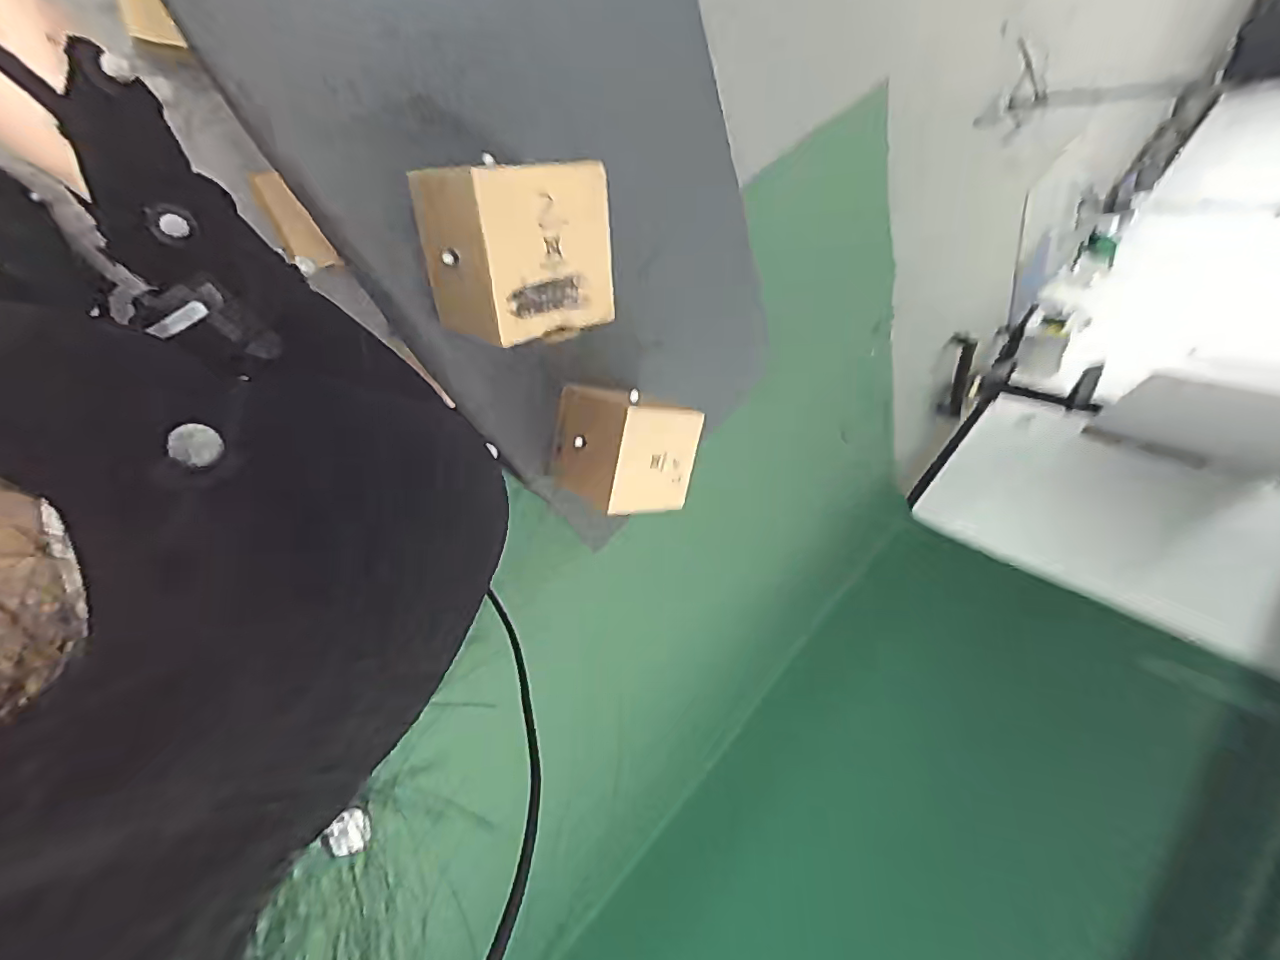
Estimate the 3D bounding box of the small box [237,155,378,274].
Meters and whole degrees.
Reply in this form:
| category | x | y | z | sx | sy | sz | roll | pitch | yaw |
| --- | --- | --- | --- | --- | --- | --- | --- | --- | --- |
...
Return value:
| category | x | y | z | sx | sy | sz | roll | pitch | yaw |
| --- | --- | --- | --- | --- | --- | --- | --- | --- | --- |
| small box | -0.673 | -0.539 | 1.097 | 0.168 | 0.176 | 0.179 | -36 | 131 | -26 |

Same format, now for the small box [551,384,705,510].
| category | x | y | z | sx | sy | sz | roll | pitch | yaw |
| --- | --- | --- | --- | --- | --- | --- | --- | --- | --- |
| small box | -0.026 | -0.058 | 0.893 | 0.179 | 0.176 | 0.168 | -2 | 110 | -44 |

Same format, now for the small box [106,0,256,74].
| category | x | y | z | sx | sy | sz | roll | pitch | yaw |
| --- | --- | --- | --- | --- | --- | --- | --- | --- | --- |
| small box | -0.759 | -0.786 | 0.880 | 0.179 | 0.176 | 0.168 | -18 | 123 | -38 |

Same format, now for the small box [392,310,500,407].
| category | x | y | z | sx | sy | sz | roll | pitch | yaw |
| --- | --- | --- | --- | --- | --- | --- | --- | --- | --- |
| small box | -0.499 | -0.320 | 1.387 | 0.168 | 0.176 | 0.179 | -42 | 136 | -20 |
